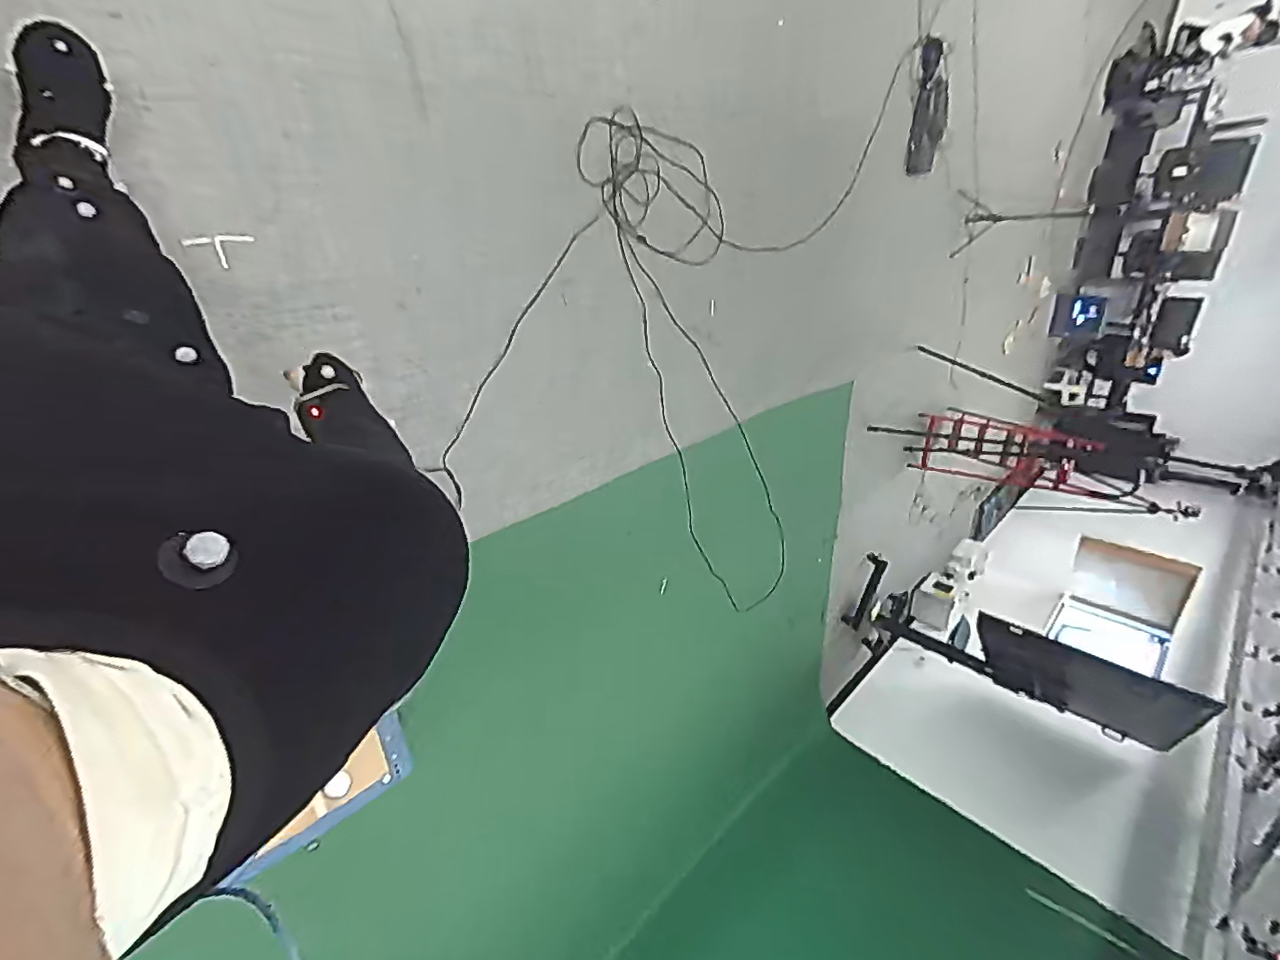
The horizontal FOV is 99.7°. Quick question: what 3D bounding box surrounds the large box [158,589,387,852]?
[{"bbox_3d":[-0.853,0.539,1.275,0.320,0.320,0.408,-22,122,-38],"label":"large box"}]
